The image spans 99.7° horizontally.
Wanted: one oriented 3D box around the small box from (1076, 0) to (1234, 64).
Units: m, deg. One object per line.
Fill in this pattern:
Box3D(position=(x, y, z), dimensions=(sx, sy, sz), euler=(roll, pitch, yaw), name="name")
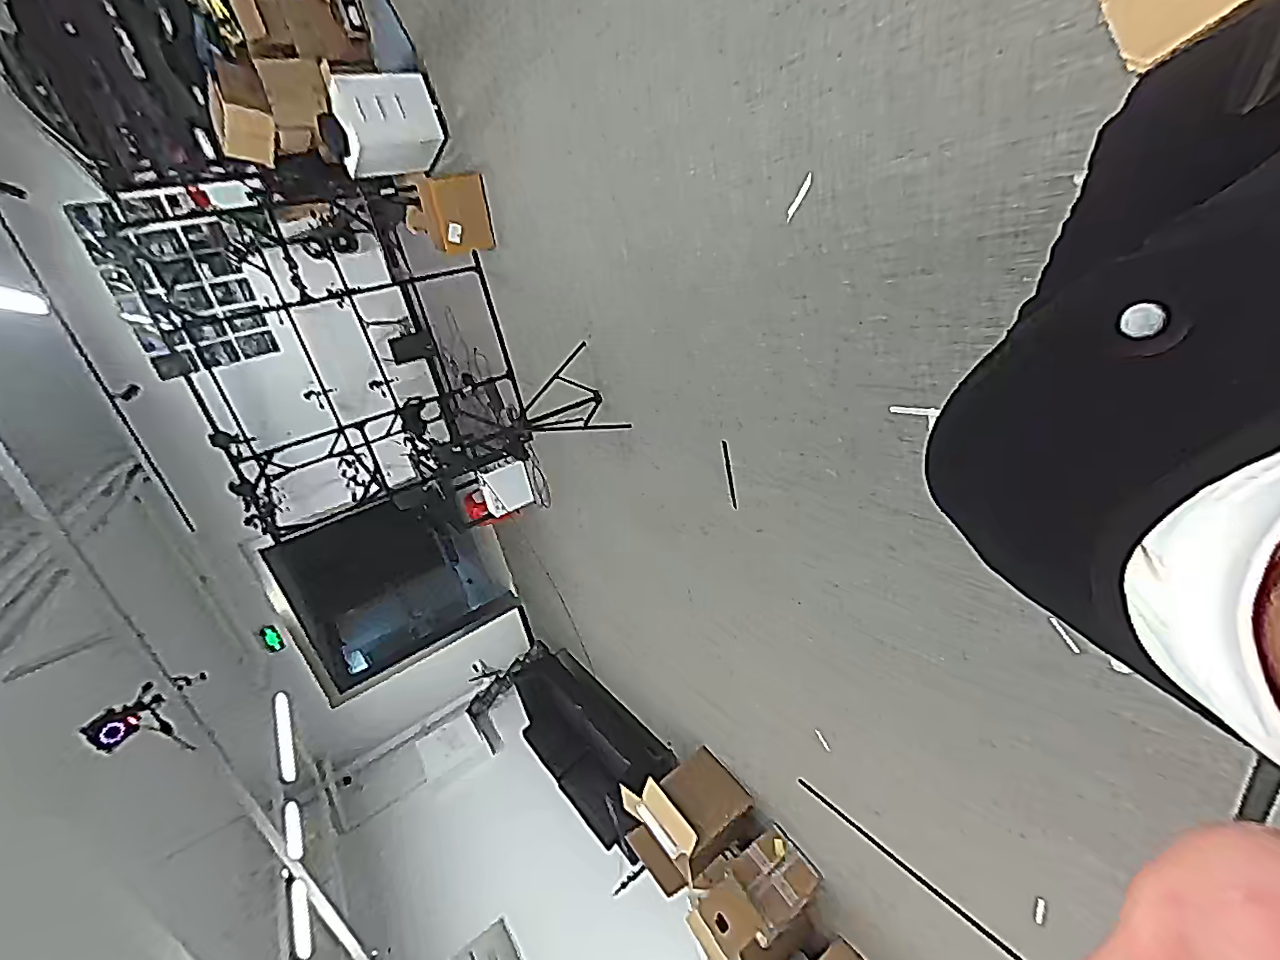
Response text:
Box3D(position=(0.240, -0.283, 0.153), dimensions=(0.179, 0.176, 0.168), euler=(59, 168, -7), name="small box")
